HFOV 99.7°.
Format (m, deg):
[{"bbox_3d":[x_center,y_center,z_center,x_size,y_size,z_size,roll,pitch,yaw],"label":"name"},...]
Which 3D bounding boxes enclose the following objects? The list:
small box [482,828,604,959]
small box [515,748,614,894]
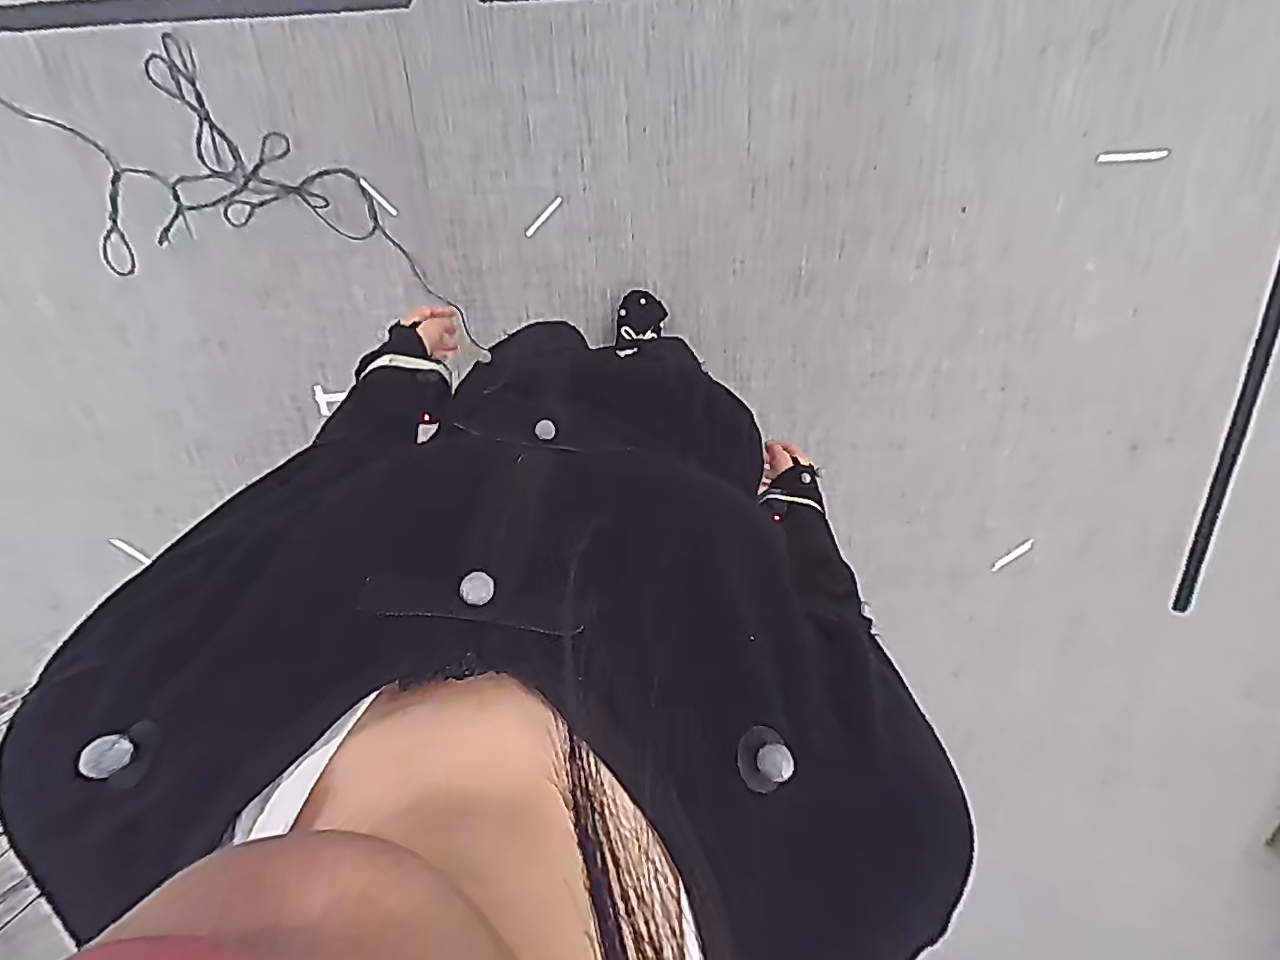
[{"bbox_3d":[-0.148,0.702,0.878,0.168,0.176,0.179,2,109,1],"label":"small box"},{"bbox_3d":[-0.138,0.641,1.030,0.168,0.176,0.179,2,109,1],"label":"small box"}]
